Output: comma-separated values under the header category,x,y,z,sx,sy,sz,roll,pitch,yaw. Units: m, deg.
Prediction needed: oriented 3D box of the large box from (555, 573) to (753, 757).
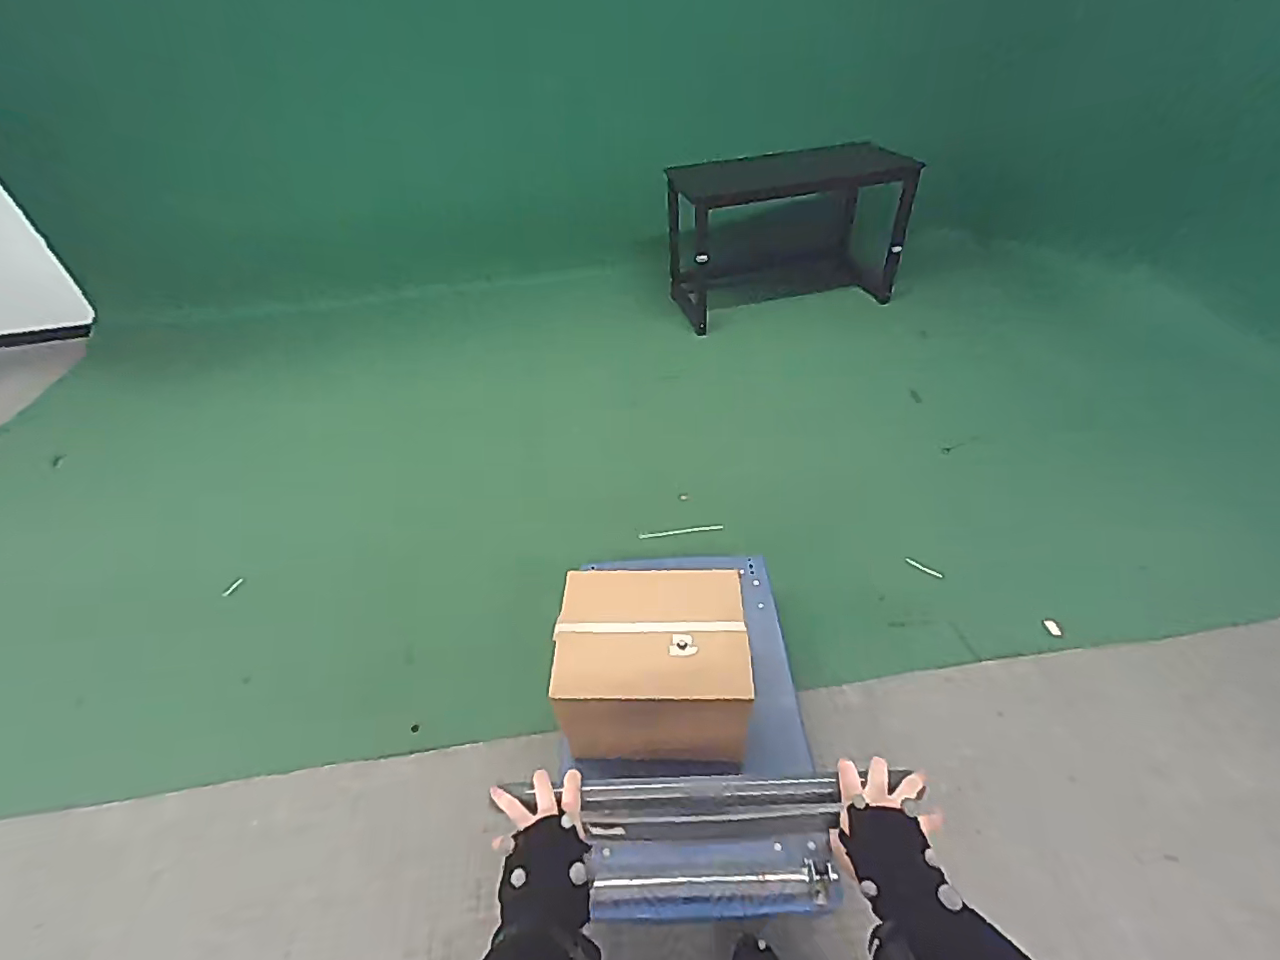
category,x,y,z,sx,sy,sz,roll,pitch,yaw
large box,0.033,0.438,1.280,0.408,0.320,0.320,-1,42,3
